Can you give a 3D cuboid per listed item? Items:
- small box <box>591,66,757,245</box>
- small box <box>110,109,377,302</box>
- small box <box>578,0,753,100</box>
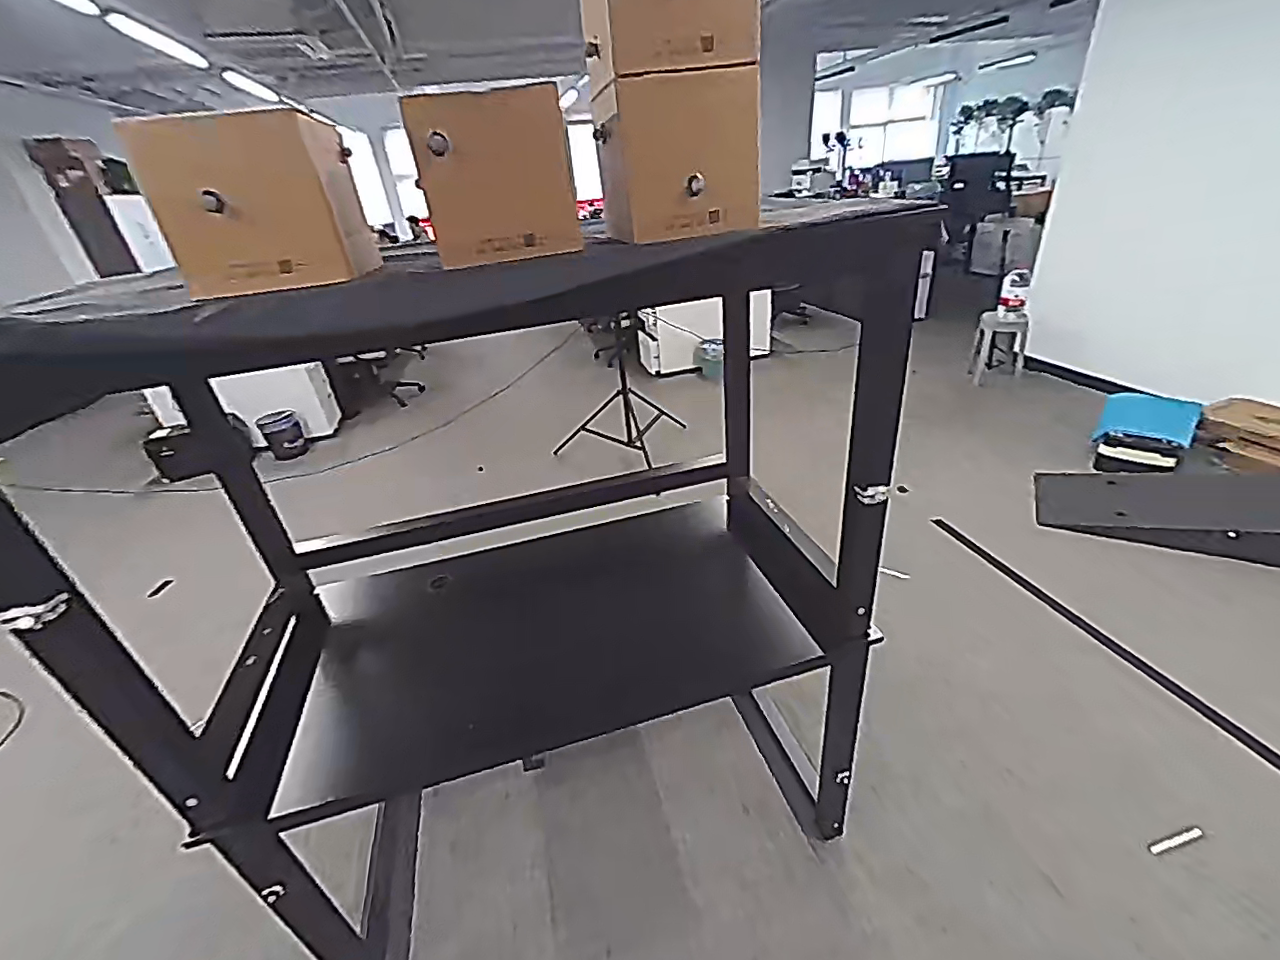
[{"bbox_3d":[0.039,-0.404,0.694,0.168,0.176,0.179,-13,29,-9],"label":"small box"},{"bbox_3d":[-0.428,-0.310,0.627,0.168,0.176,0.179,-11,28,-8],"label":"small box"},{"bbox_3d":[0.023,-0.547,0.616,0.168,0.176,0.179,-12,29,-9],"label":"small box"}]
